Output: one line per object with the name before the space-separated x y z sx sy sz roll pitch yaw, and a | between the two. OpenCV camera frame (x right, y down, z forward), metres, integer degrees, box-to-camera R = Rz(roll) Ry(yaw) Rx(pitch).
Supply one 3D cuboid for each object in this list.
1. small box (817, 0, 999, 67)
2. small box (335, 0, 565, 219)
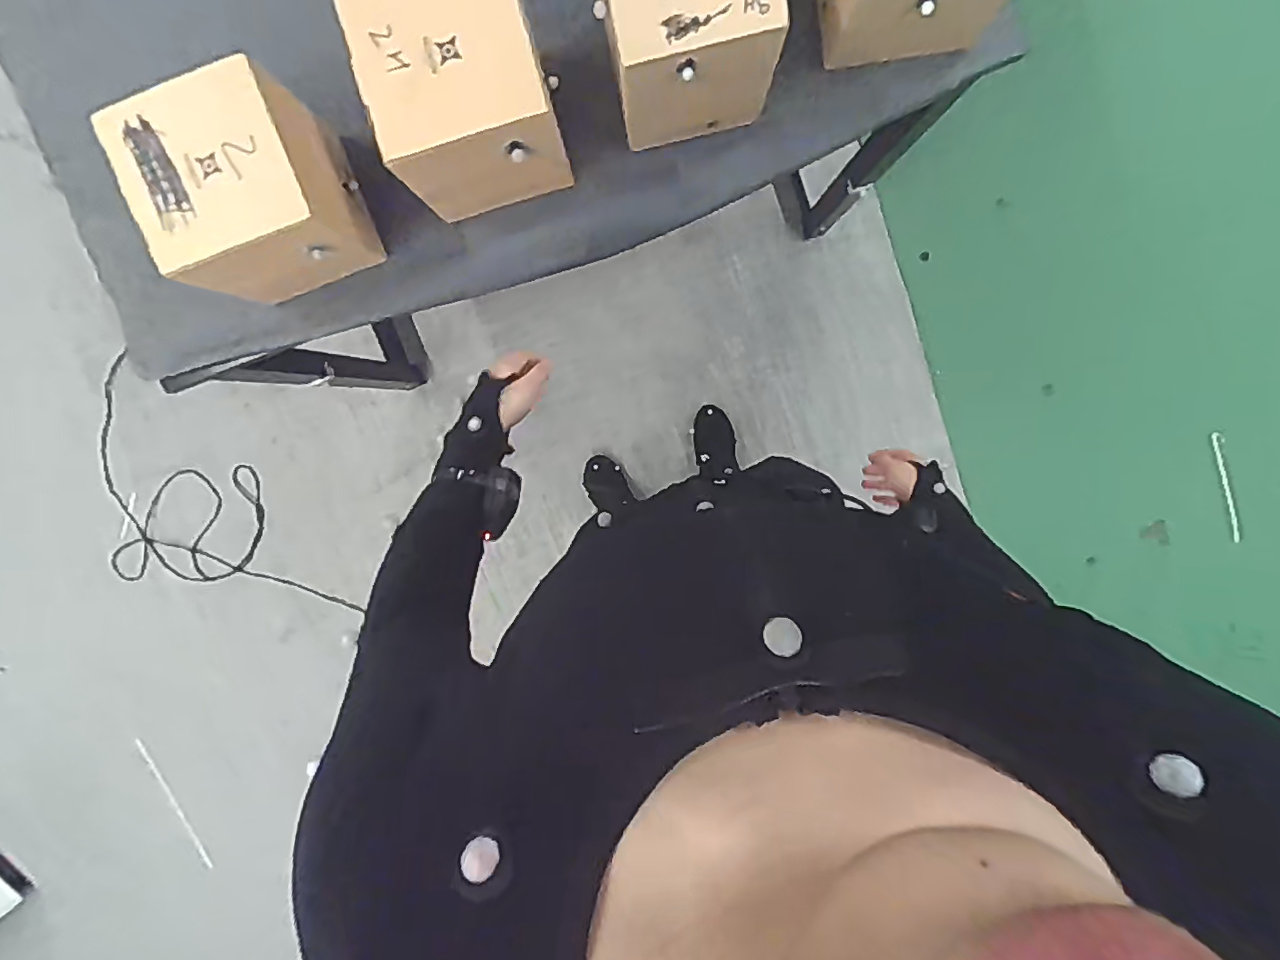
small box | 0.295 -0.580 0.565 0.179 0.176 0.168 -7 94 4
small box | -0.190 -0.422 0.605 0.179 0.176 0.168 -15 95 5
